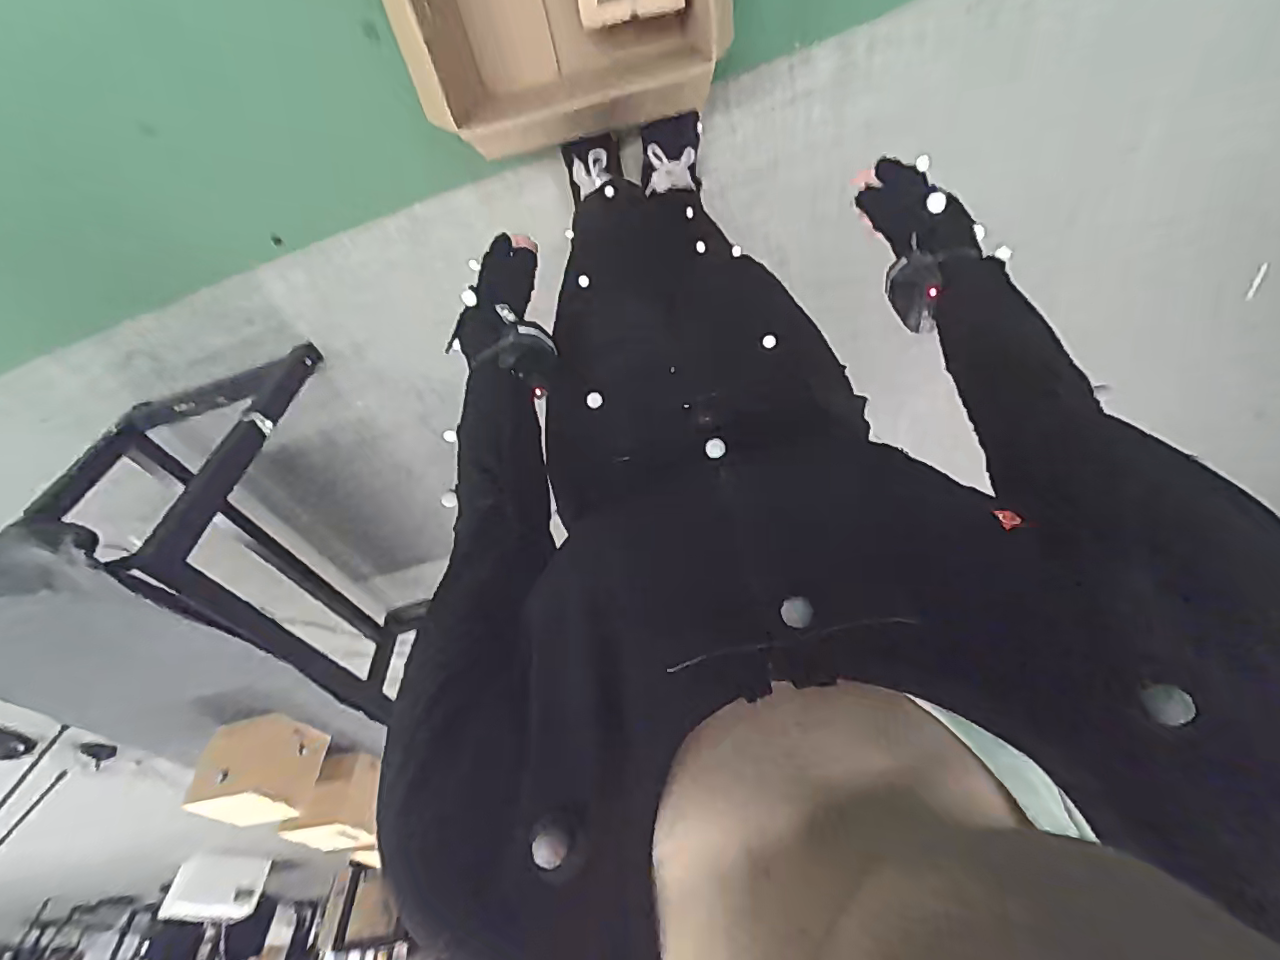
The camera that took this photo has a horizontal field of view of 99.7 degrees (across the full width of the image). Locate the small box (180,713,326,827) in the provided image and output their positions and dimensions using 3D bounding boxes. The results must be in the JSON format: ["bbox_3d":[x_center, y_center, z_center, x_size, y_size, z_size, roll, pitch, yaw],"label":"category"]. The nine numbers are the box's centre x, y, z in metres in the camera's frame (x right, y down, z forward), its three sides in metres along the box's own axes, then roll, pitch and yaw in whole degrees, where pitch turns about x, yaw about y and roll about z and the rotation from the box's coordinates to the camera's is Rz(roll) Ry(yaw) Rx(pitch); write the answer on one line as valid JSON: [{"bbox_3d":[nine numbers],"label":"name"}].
[{"bbox_3d":[-0.848,0.647,1.207,0.179,0.176,0.168,-17,133,10],"label":"small box"}]
